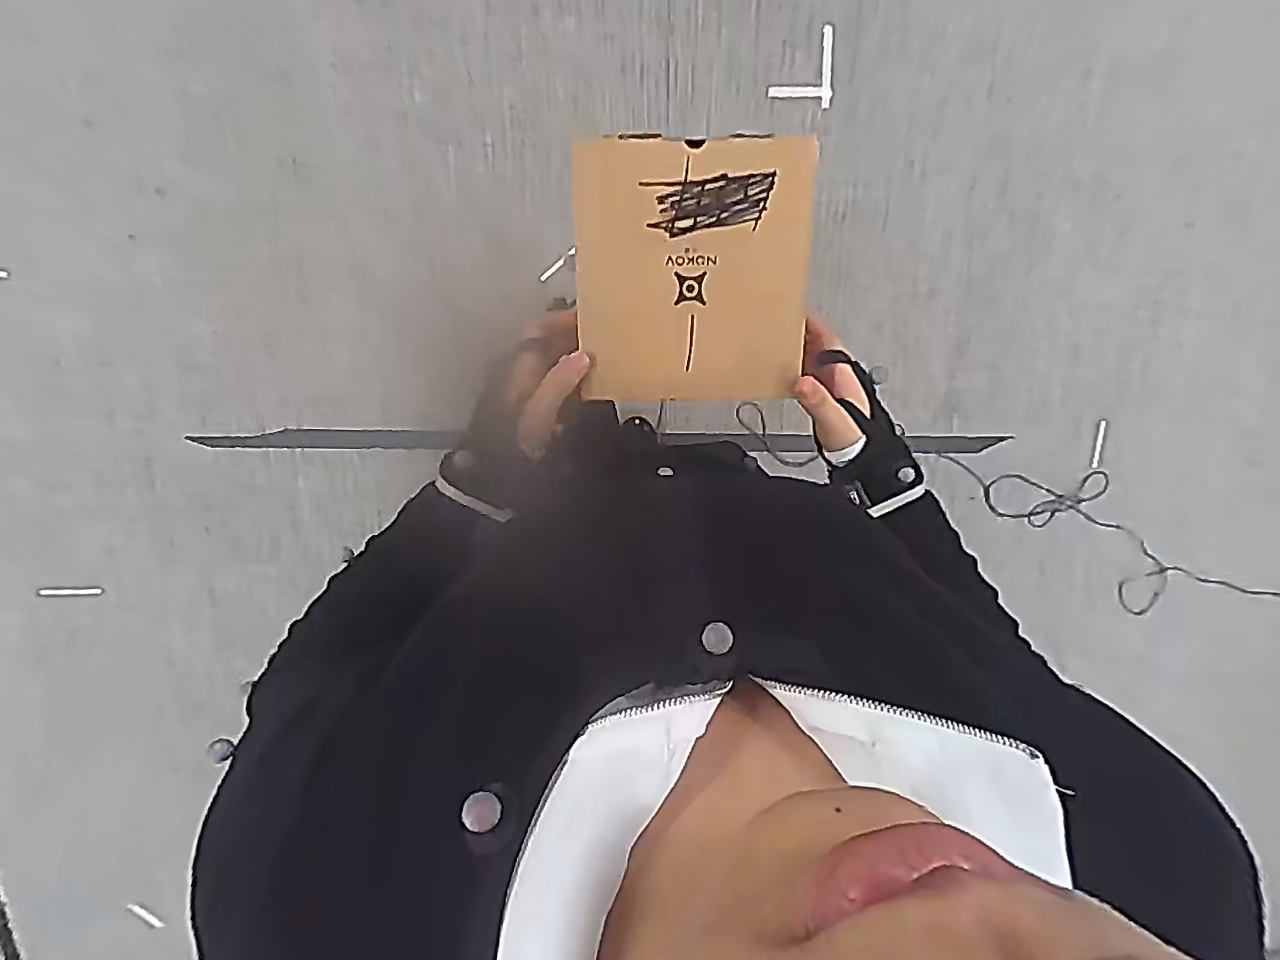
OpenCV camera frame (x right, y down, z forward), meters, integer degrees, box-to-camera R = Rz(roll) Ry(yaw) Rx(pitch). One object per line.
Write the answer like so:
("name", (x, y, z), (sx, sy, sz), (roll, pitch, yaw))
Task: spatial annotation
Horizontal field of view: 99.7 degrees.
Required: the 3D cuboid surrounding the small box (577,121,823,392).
("small box", (0.037, -0.171, 0.450), (0.168, 0.176, 0.179), (0, 107, 0))
